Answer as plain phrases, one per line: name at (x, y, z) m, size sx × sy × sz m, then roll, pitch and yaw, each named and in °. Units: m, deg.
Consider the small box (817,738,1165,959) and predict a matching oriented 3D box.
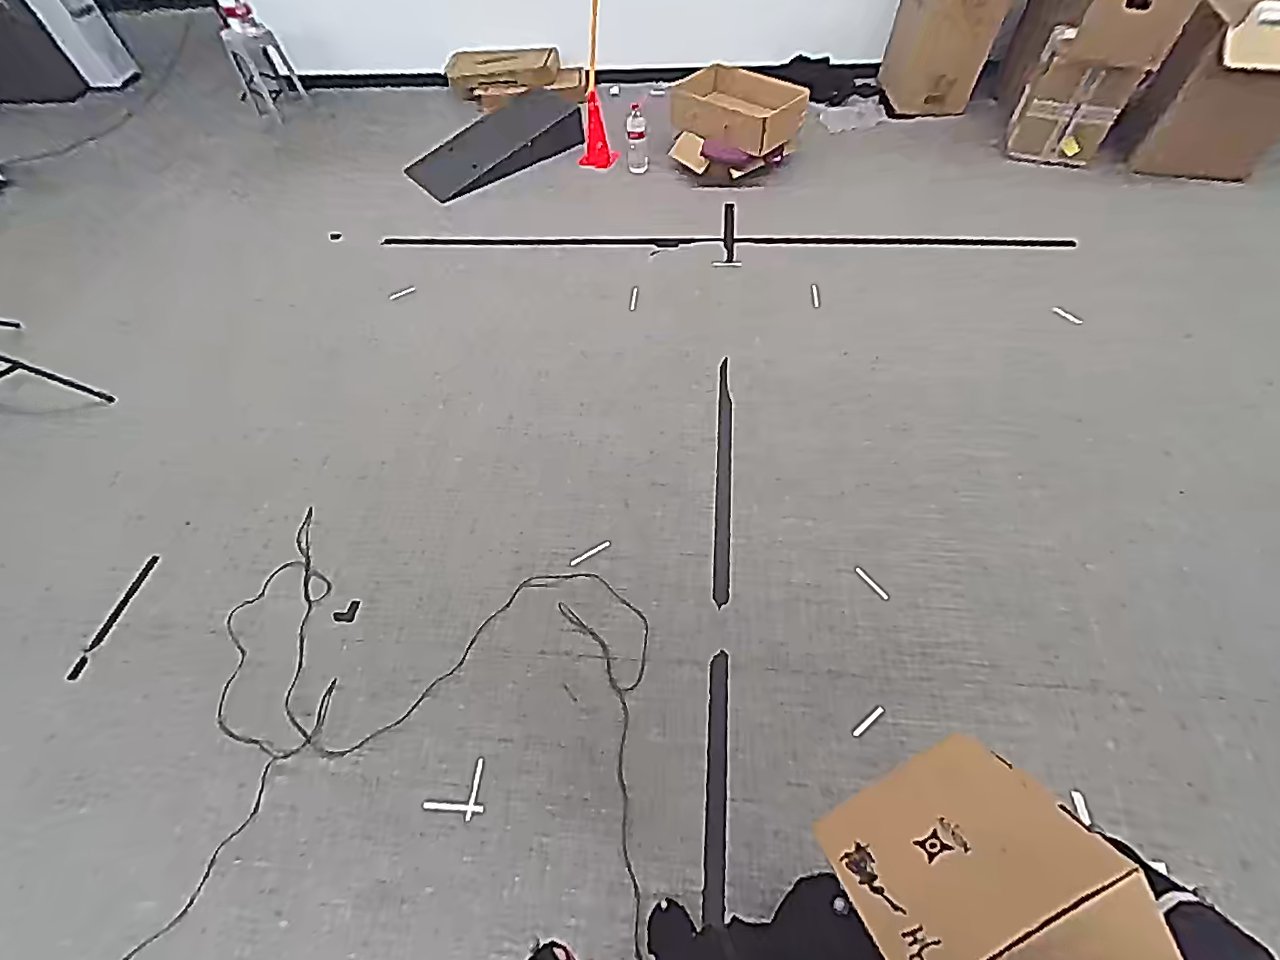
small box at (0.288, 0.367, 0.450) m, size 0.179 × 0.168 × 0.176 m, roll -29°, pitch 97°, yaw -2°
